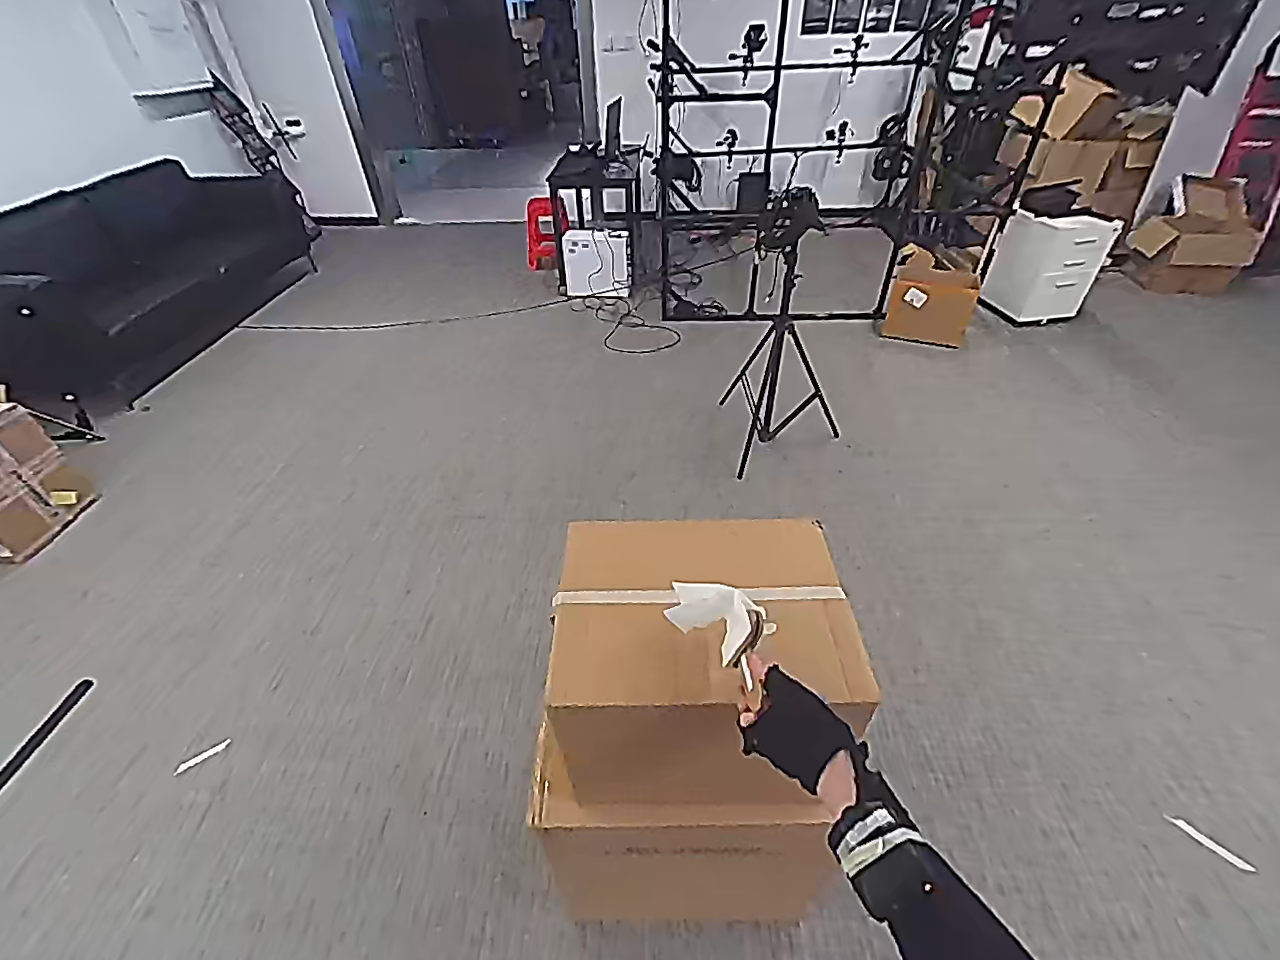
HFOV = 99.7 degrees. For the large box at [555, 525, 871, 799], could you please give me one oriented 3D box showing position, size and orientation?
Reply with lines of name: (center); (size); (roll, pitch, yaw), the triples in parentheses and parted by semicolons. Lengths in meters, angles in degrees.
large box: (0.090, 0.289, 0.875); (0.408, 0.320, 0.320); (-1, 40, 0)
